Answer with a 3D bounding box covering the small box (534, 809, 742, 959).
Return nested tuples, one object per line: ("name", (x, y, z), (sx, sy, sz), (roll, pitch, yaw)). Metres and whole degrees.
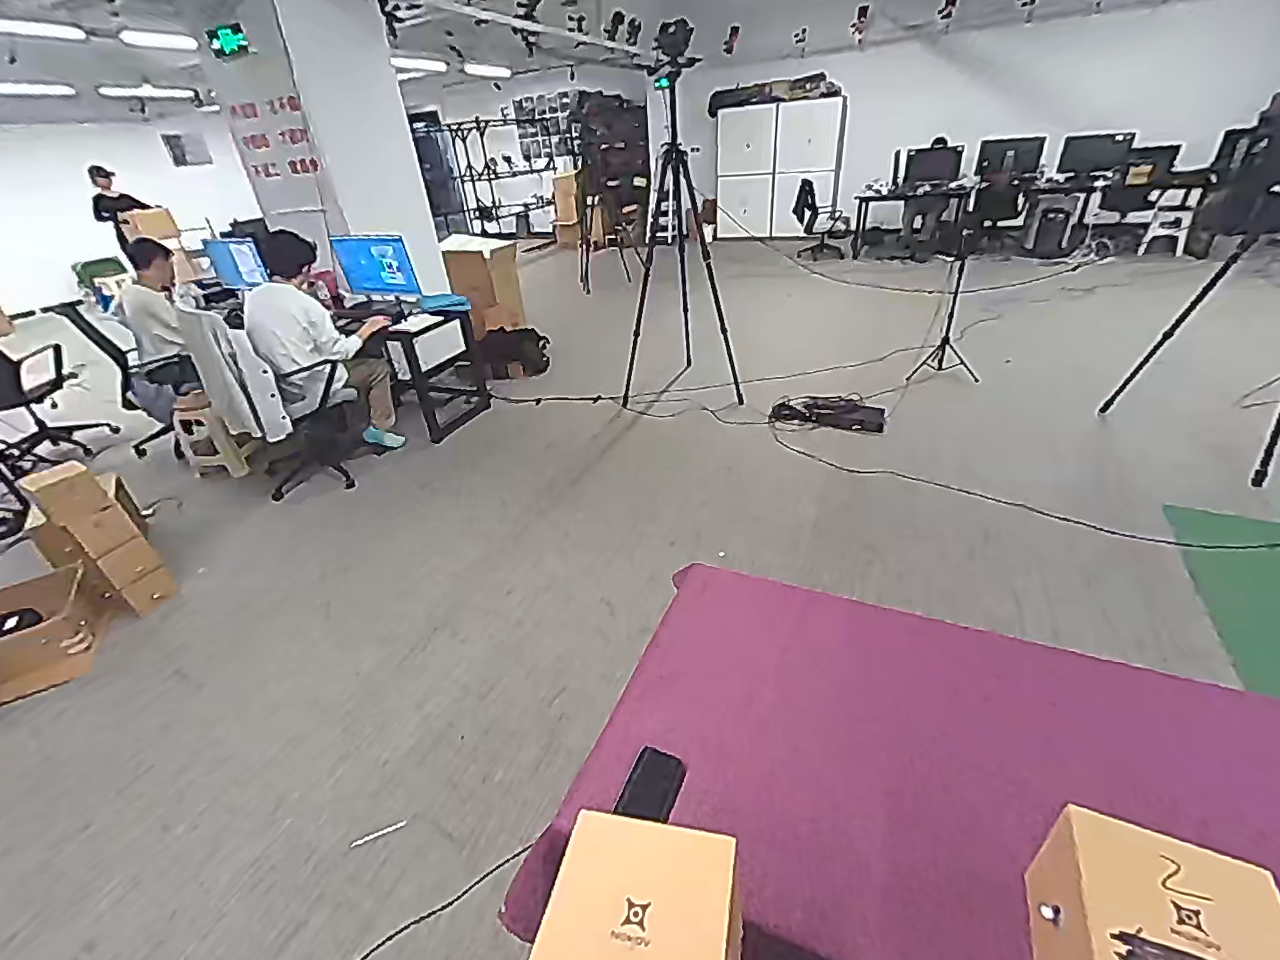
("small box", (0.008, 0.466, 0.522), (0.168, 0.176, 0.179), (1, 28, 16))
